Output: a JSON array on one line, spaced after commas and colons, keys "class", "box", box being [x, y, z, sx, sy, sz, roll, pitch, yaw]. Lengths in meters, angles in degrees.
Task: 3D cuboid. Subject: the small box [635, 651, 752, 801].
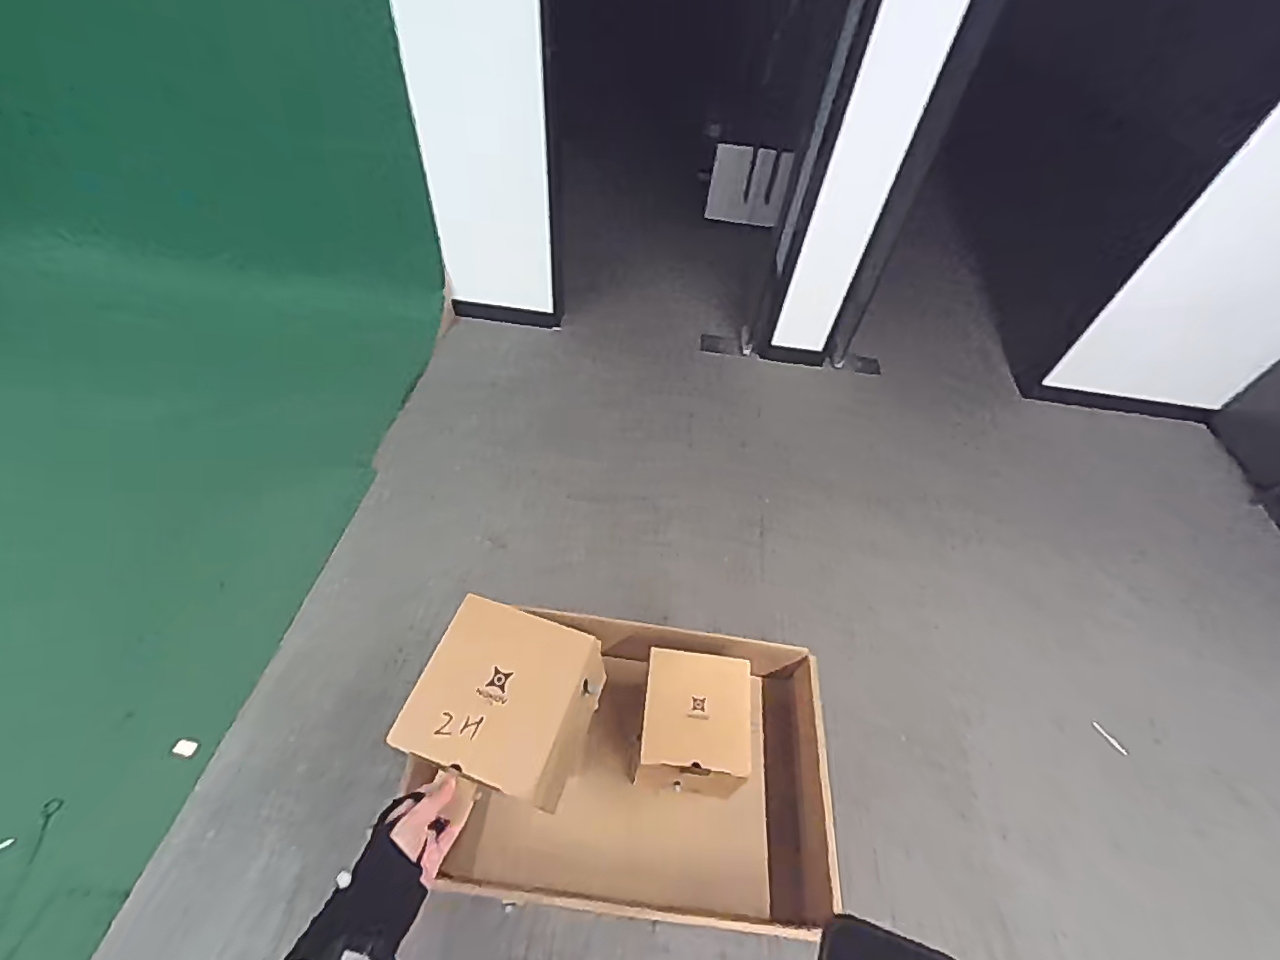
[{"class": "small box", "box": [0.084, 0.406, 0.890, 0.168, 0.176, 0.179, 7, 51, 1]}]

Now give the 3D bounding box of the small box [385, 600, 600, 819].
[{"class": "small box", "box": [-0.154, 0.274, 0.642, 0.168, 0.176, 0.179, 15, 58, 13]}]
